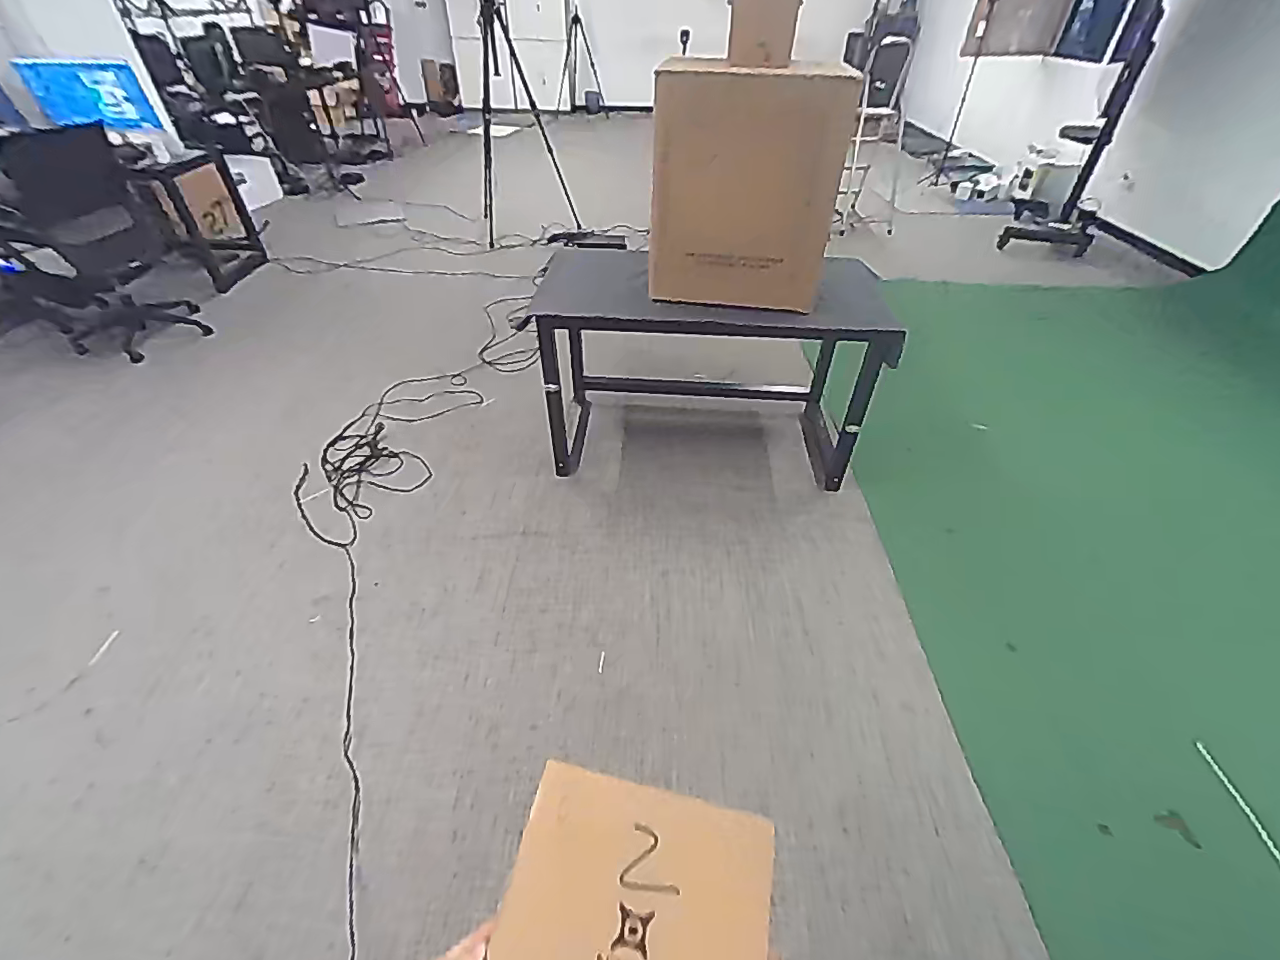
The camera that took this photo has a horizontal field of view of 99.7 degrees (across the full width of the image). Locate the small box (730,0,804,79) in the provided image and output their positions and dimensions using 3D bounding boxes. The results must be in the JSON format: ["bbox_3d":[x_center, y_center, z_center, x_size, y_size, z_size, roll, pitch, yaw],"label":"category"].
[{"bbox_3d":[0.331,-1.184,1.433,0.168,0.176,0.179,6,44,5],"label":"small box"}]
